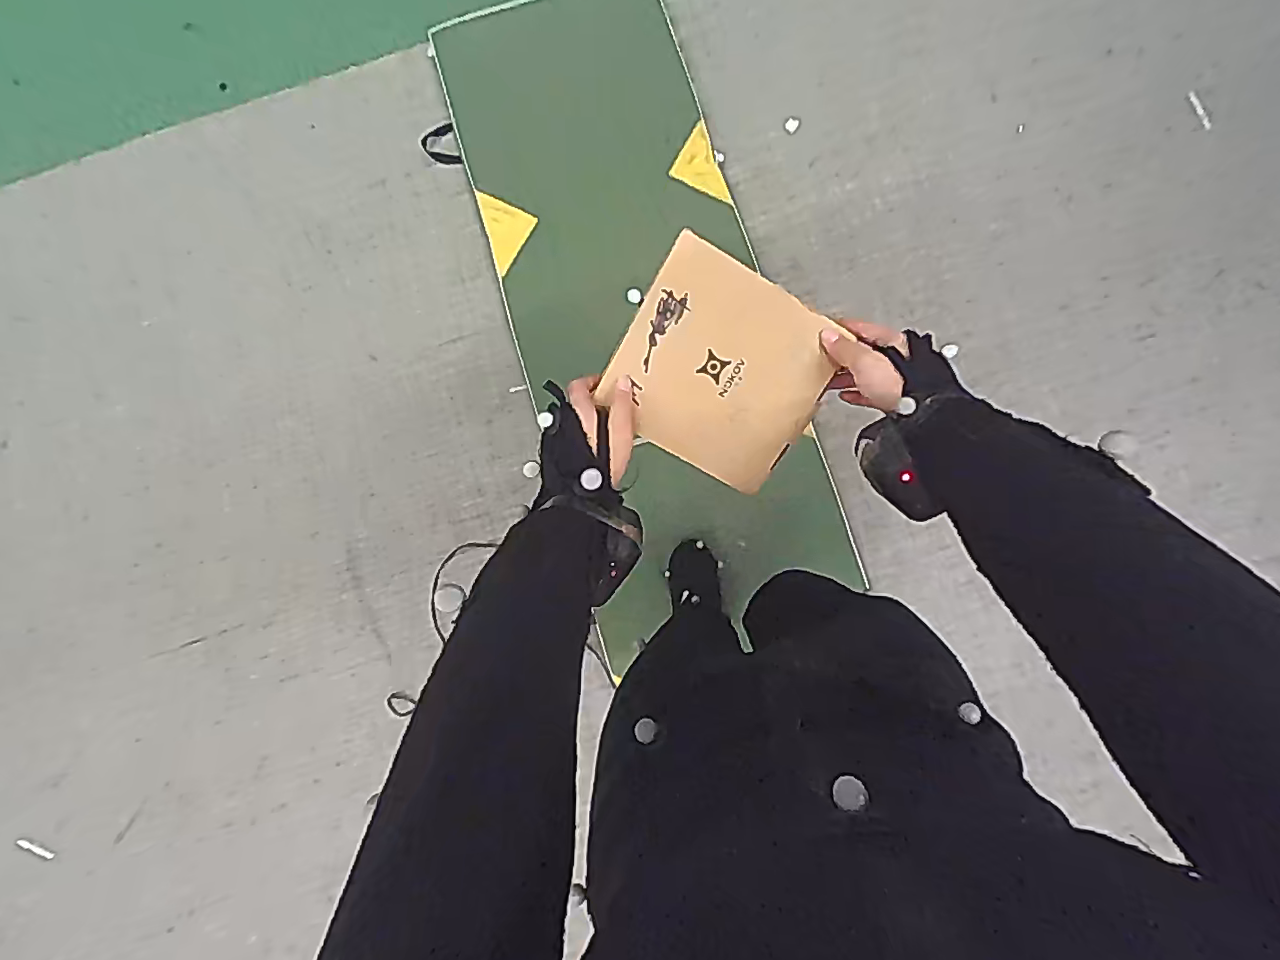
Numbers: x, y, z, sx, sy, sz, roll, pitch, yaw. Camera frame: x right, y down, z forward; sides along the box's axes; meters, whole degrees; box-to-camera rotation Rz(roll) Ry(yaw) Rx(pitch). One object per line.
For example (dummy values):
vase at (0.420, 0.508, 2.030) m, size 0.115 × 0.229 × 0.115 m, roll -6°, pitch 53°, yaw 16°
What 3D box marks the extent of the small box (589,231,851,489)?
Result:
small box at (0.068, -0.122, 0.546) m, size 0.179 × 0.176 × 0.168 m, roll 29°, pitch 104°, yaw -9°
